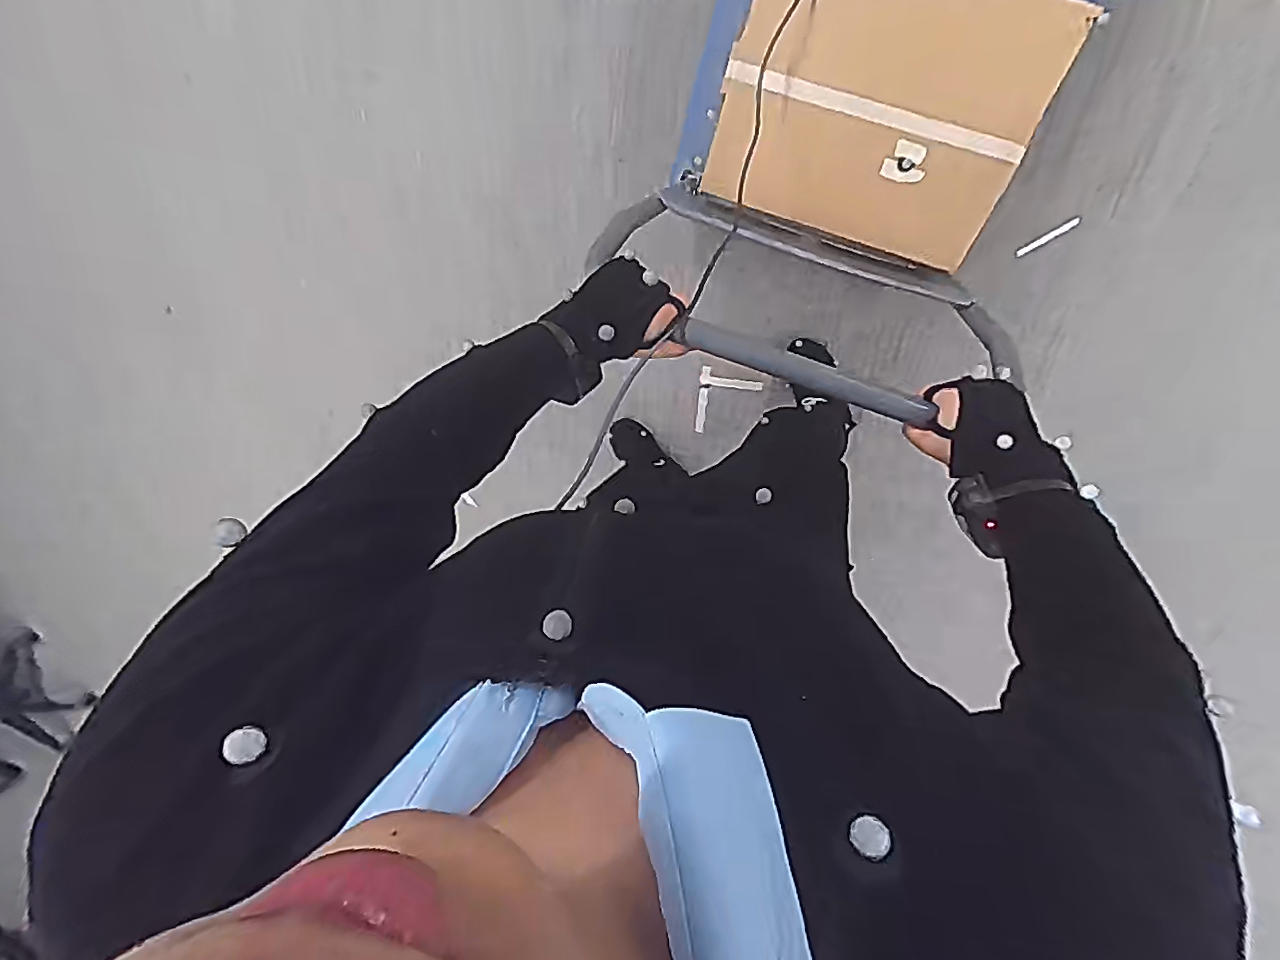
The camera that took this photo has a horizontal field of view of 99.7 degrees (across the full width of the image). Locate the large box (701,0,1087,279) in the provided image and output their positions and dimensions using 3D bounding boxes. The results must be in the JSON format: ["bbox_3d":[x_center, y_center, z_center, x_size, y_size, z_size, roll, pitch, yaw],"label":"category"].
[{"bbox_3d":[0.345,-0.557,0.863,0.408,0.320,0.320,20,123,3],"label":"large box"}]
